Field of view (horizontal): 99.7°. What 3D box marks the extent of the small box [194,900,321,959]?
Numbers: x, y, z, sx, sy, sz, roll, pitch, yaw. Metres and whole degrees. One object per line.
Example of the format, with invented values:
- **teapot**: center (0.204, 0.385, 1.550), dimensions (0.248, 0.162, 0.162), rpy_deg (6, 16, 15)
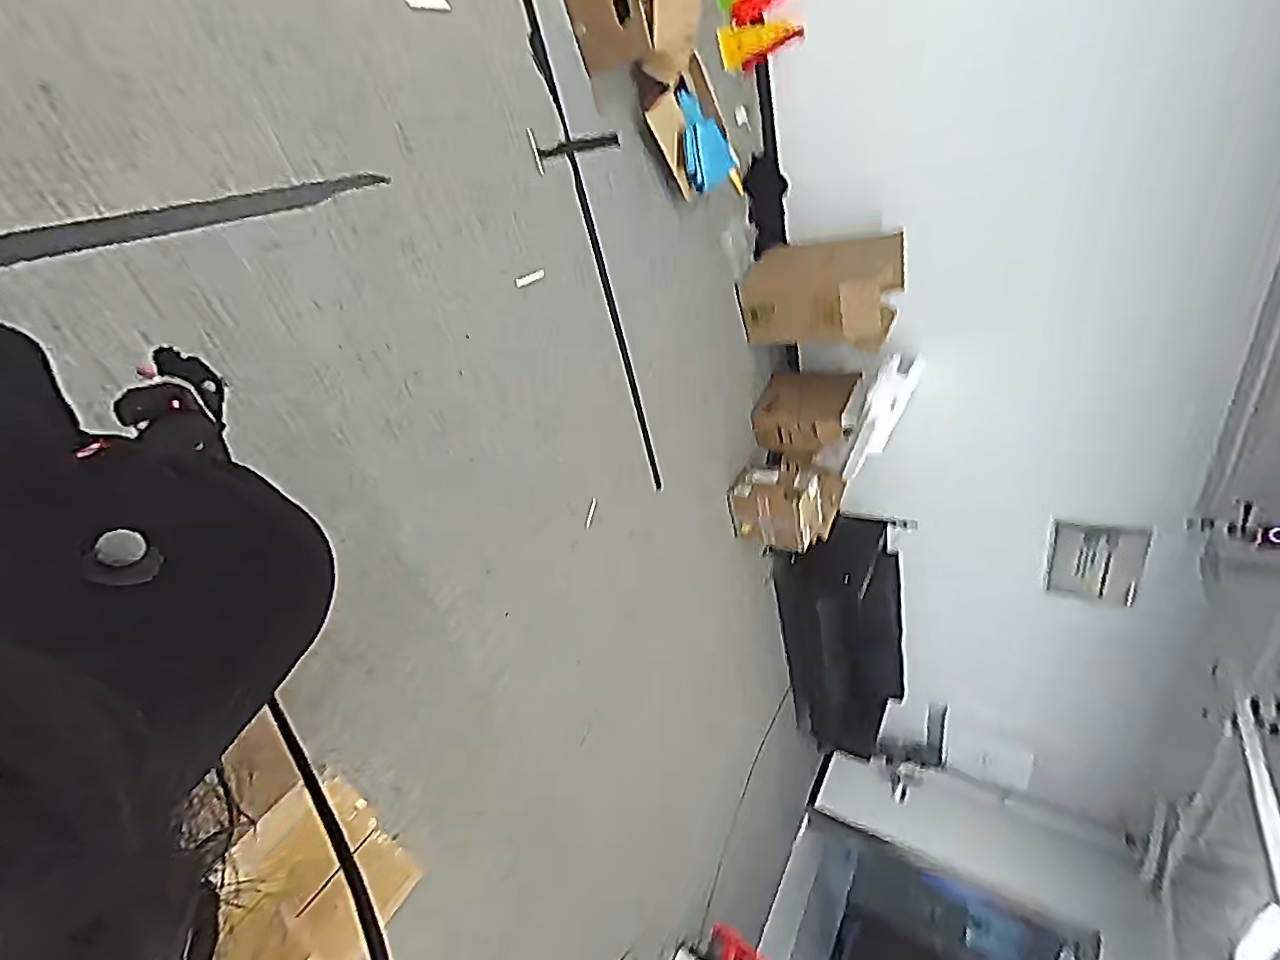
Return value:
- **small box**: center (-0.589, 0.797, 0.813), dimensions (0.179, 0.176, 0.168), rpy_deg (-44, 130, -41)
